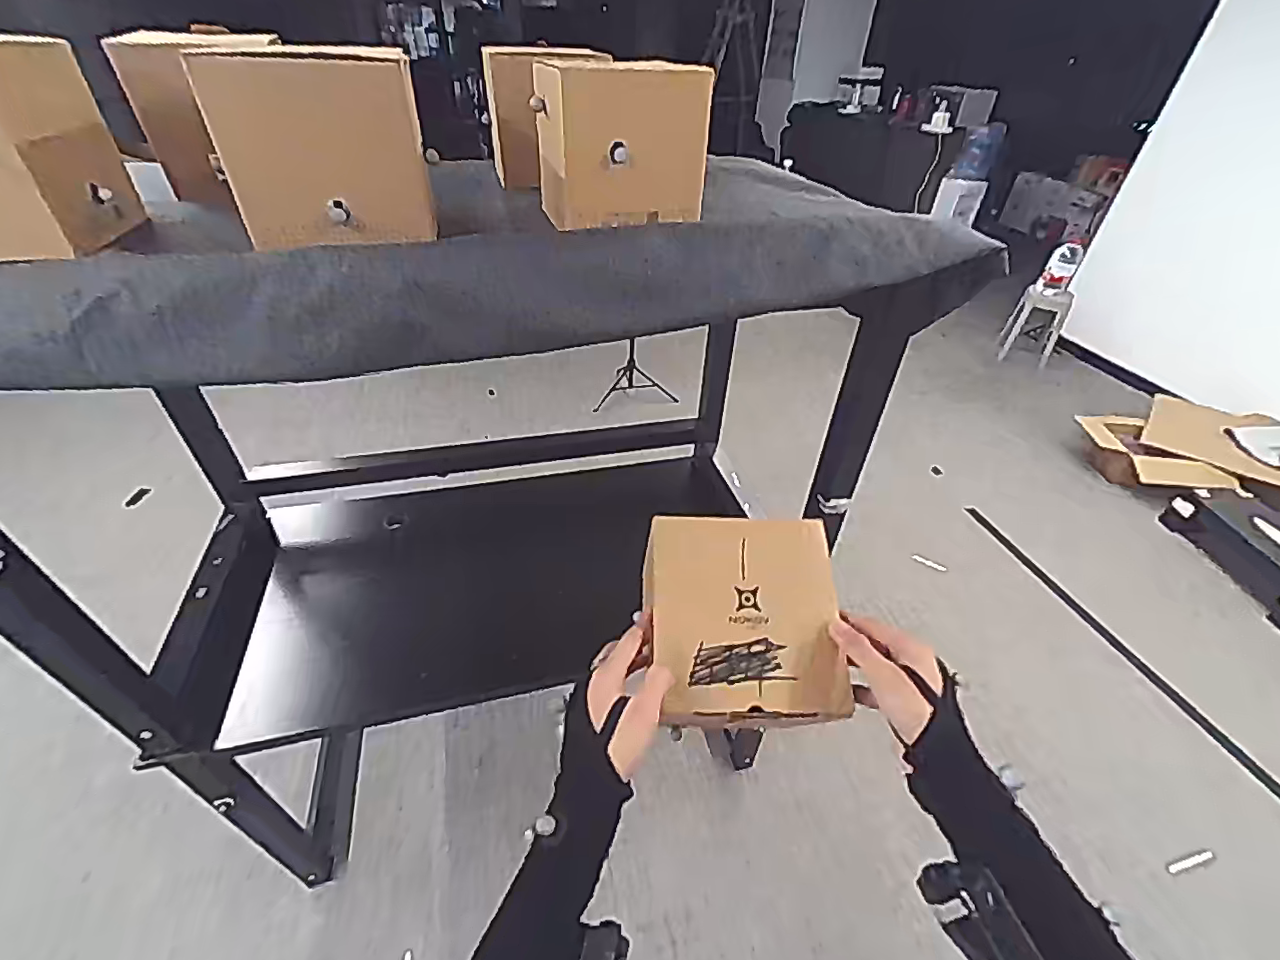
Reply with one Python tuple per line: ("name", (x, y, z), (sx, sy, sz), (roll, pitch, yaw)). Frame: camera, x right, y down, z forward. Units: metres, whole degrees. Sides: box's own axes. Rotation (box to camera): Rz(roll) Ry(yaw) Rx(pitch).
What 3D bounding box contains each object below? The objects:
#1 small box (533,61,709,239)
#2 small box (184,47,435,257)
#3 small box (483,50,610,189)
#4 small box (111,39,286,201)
("small box", (-0.028, -0.399, 0.656), (0.168, 0.176, 0.179), (-10, 40, -14))
("small box", (-0.325, -0.351, 0.583), (0.179, 0.176, 0.168), (-9, 40, -14))
("small box", (-0.145, -0.571, 0.857), (0.179, 0.176, 0.168), (-8, 41, -13))
("small box", (-0.557, -0.495, 0.746), (0.168, 0.176, 0.179), (-14, 42, -17))
